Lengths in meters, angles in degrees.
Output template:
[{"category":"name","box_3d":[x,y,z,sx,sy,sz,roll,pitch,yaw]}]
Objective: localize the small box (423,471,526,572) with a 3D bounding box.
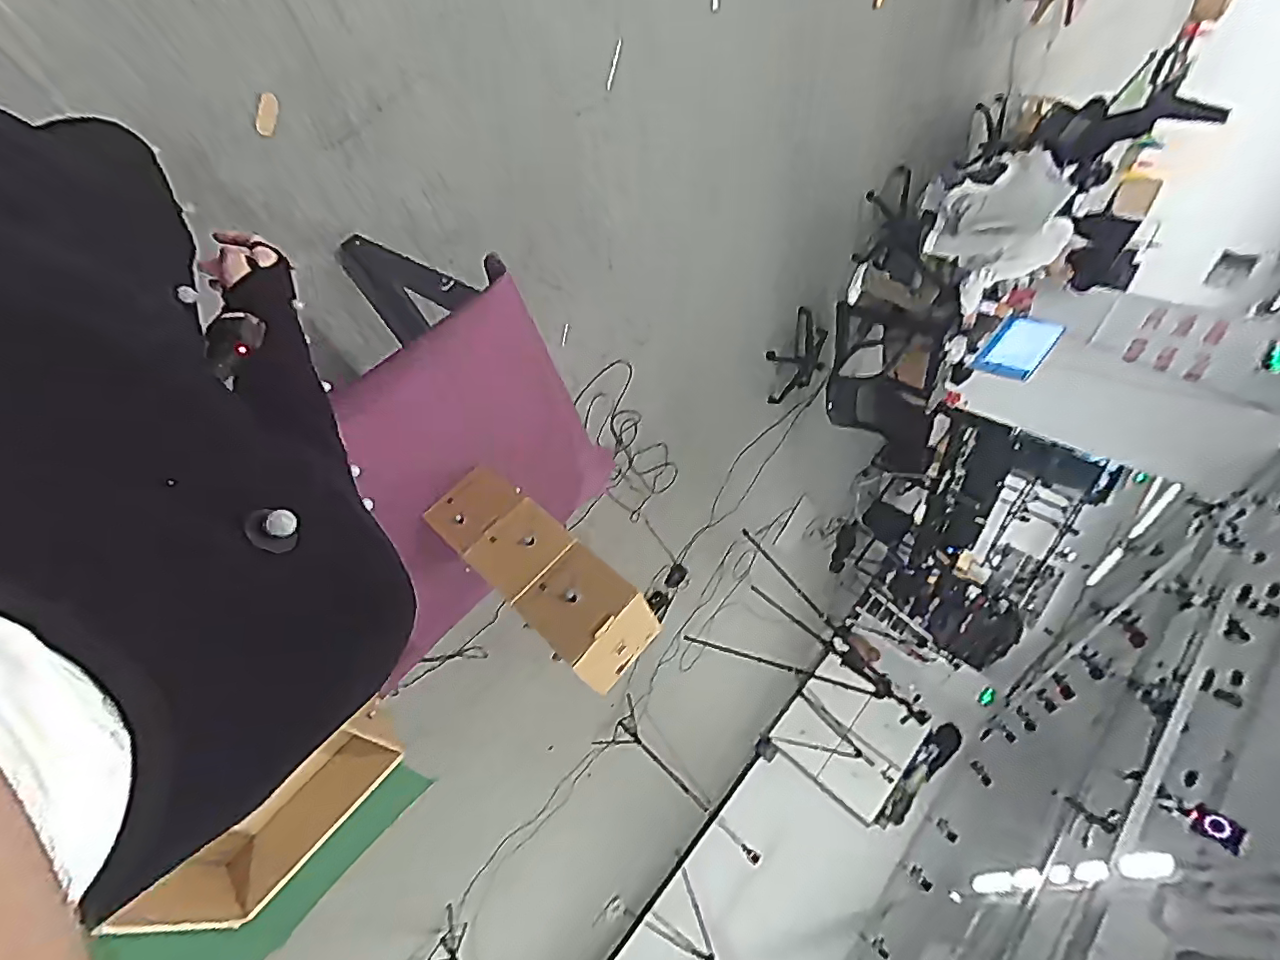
[{"category":"small box","box_3d":[-0.331,0.102,1.165,0.168,0.176,0.179,-44,145,-18]}]

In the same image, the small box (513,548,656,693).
[{"category":"small box","box_3d":[-0.101,0.248,0.986,0.168,0.176,0.179,-45,144,-17]}]

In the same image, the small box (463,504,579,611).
[{"category":"small box","box_3d":[-0.217,0.171,1.073,0.168,0.176,0.179,-45,145,-18]}]
